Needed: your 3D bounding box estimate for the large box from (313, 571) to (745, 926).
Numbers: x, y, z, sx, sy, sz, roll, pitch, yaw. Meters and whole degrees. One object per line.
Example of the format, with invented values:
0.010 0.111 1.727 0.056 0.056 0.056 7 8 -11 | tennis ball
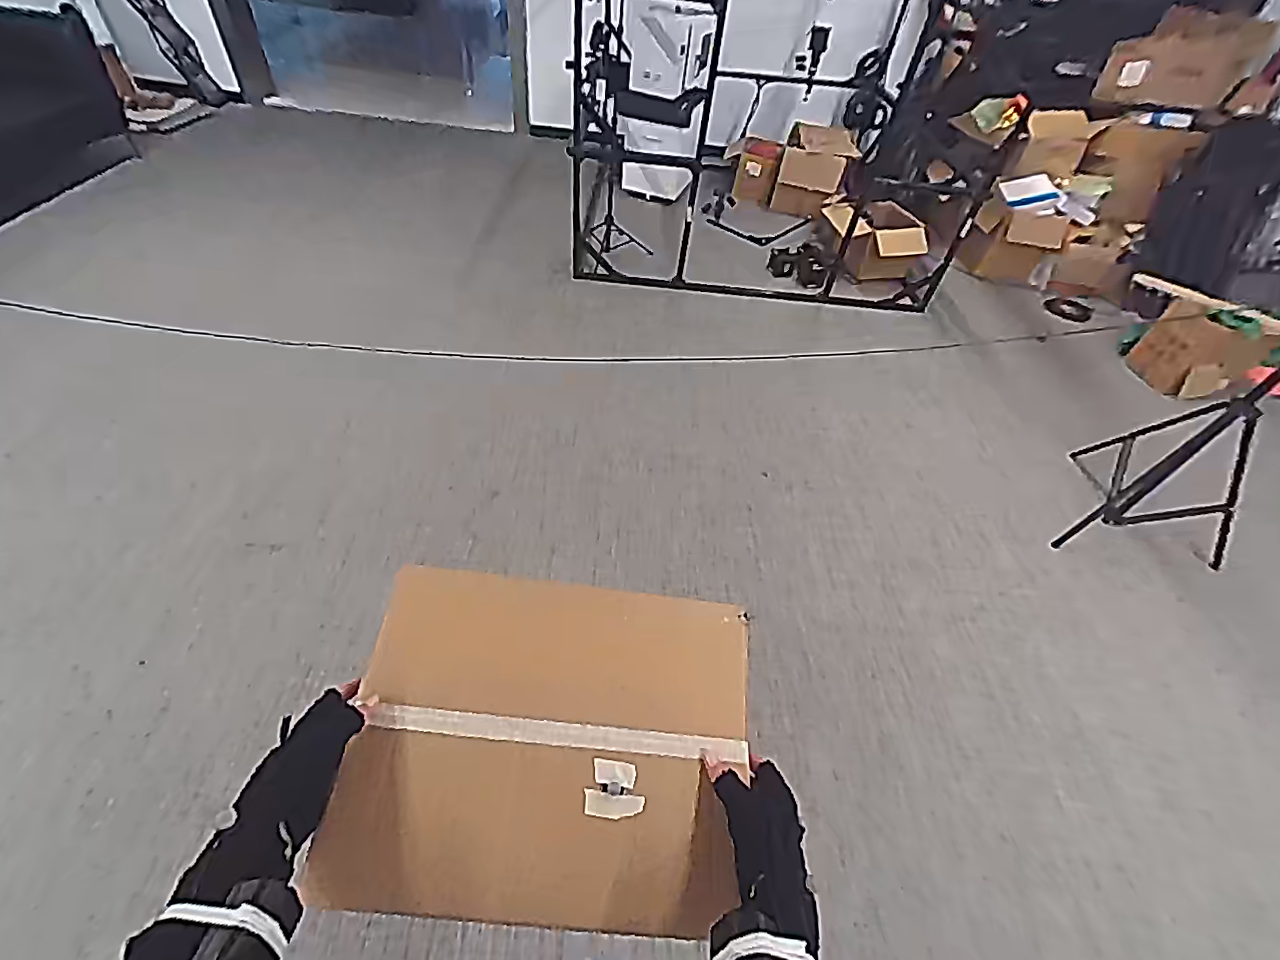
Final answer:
-0.106 0.333 0.695 0.408 0.320 0.320 8 61 -4 | large box
